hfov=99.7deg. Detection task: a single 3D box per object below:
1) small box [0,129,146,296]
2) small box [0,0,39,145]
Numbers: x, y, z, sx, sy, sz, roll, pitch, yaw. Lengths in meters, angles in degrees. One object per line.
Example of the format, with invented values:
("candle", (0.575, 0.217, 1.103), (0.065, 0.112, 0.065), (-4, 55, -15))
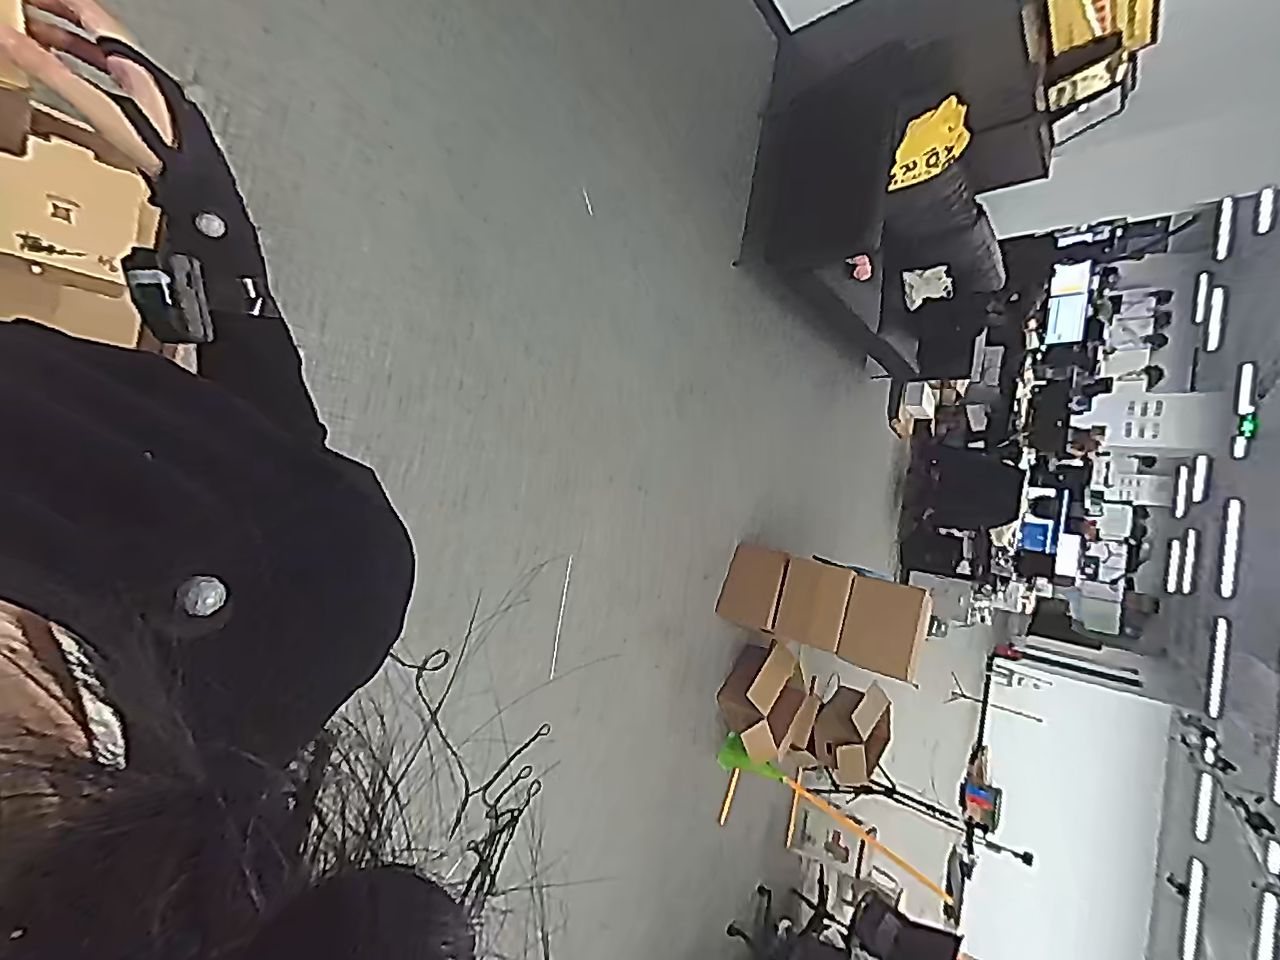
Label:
("small box", (-0.902, -0.407, 0.840), (0.168, 0.176, 0.179), (10, 88, -48))
("small box", (-0.489, -0.321, 0.312), (0.179, 0.176, 0.168), (-8, 103, -48))
